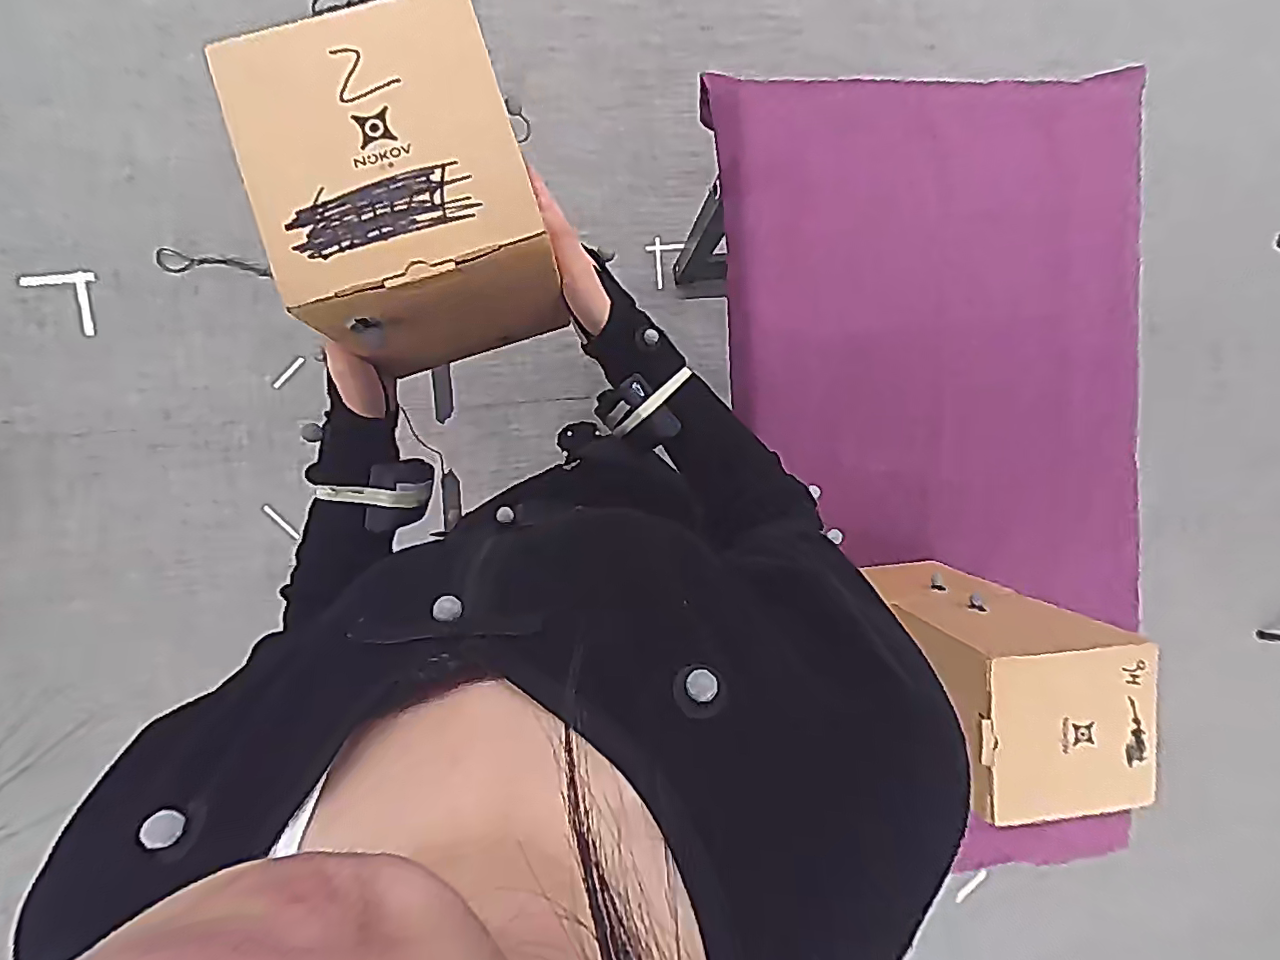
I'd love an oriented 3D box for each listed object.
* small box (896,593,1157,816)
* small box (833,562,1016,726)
[{"bbox_3d":[0.404,0.229,0.593,0.179,0.176,0.168,-3,94,-5],"label":"small box"},{"bbox_3d":[0.383,0.216,0.756,0.179,0.176,0.168,-4,95,-6],"label":"small box"}]
